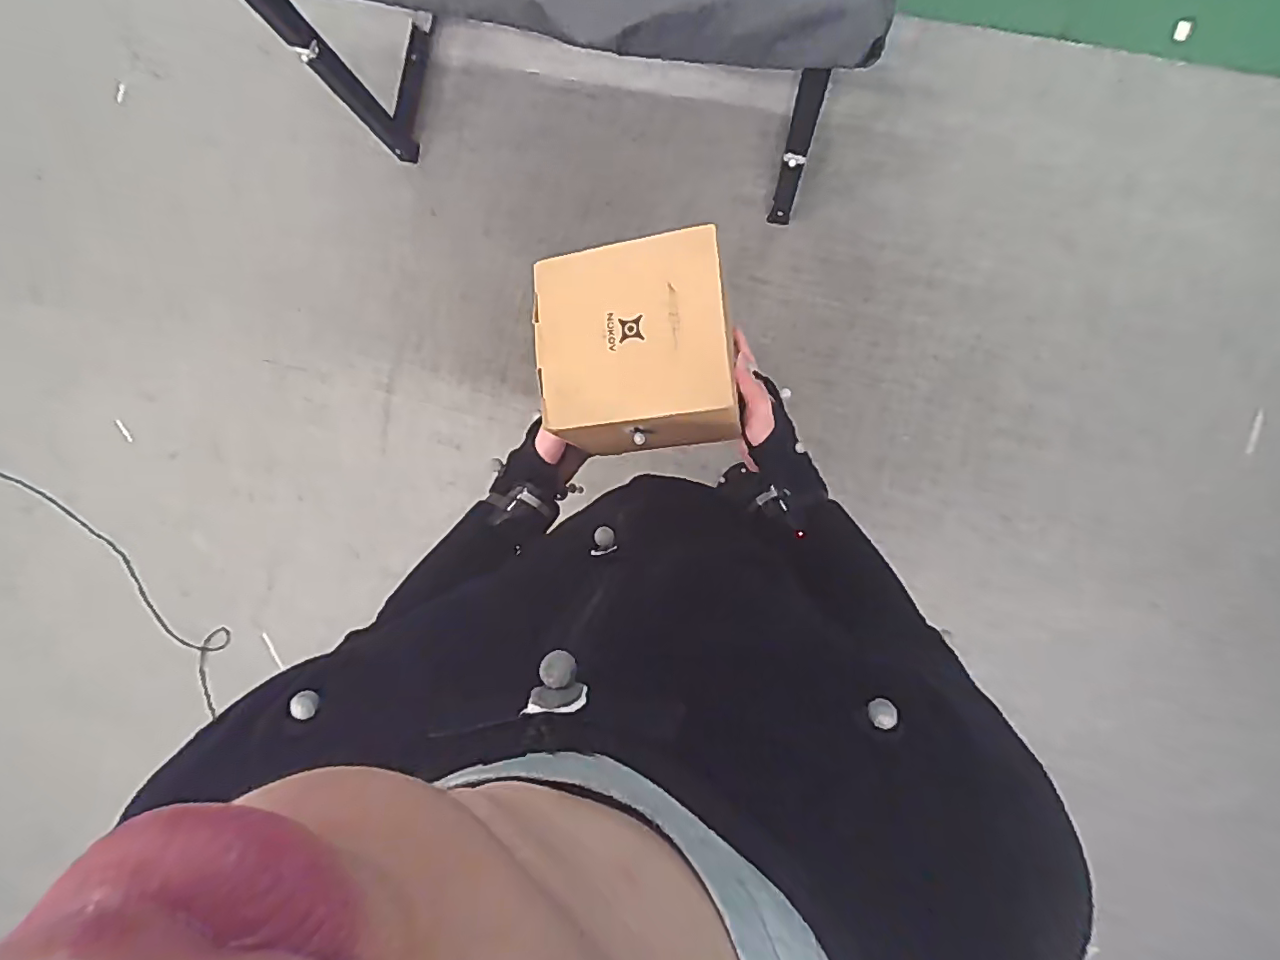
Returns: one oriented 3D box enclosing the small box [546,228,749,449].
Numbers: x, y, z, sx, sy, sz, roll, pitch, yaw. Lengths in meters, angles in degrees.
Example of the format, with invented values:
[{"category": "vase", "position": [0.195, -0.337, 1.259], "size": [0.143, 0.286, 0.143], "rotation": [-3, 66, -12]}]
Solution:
[{"category": "small box", "position": [0.017, -0.131, 0.572], "size": [0.179, 0.176, 0.168], "rotation": [-7, 85, 12]}]
